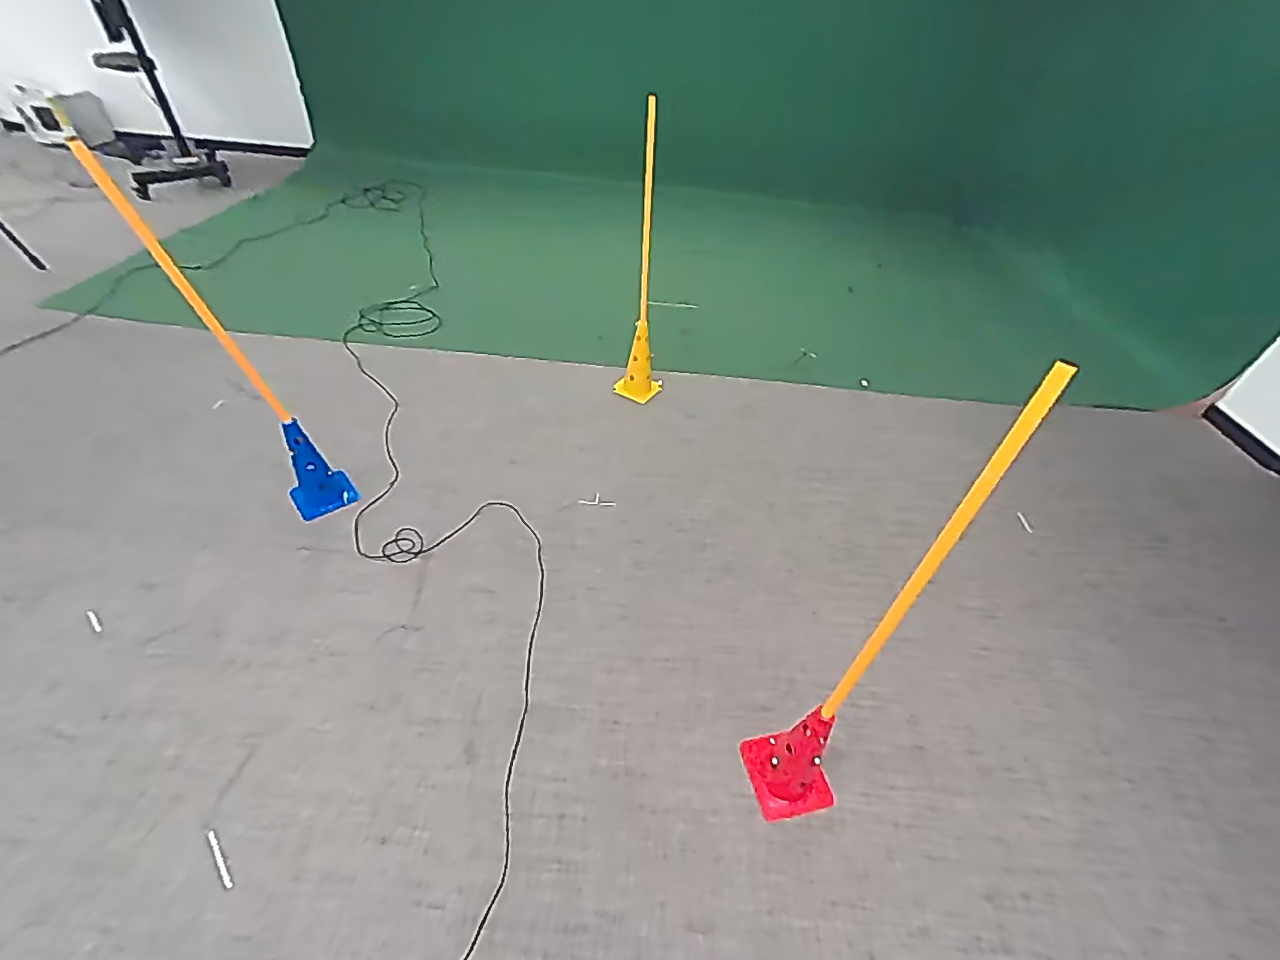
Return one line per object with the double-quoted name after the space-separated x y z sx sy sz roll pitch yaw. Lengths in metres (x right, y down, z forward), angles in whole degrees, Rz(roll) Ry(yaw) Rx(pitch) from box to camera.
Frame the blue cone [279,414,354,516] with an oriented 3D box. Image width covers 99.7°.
-1.169 -0.067 1.892 0.193 0.380 0.192 -31 55 -30 "blue cone"
